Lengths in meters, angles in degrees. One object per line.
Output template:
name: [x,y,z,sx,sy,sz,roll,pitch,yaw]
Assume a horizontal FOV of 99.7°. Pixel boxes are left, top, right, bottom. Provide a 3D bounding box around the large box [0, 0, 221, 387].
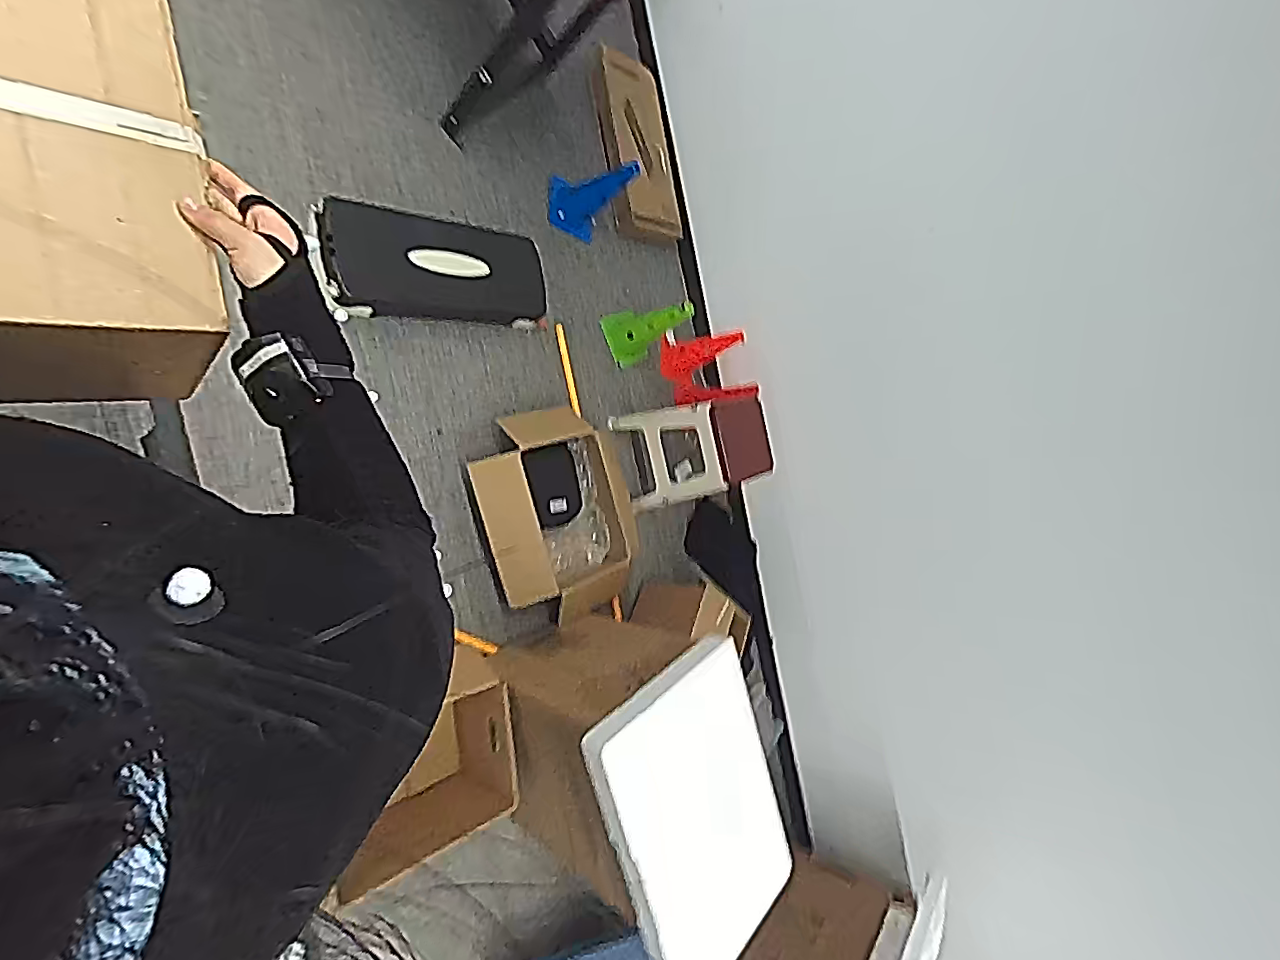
large box: [-0.626,-0.246,0.421,0.408,0.320,0.320,-14,95,-45]
